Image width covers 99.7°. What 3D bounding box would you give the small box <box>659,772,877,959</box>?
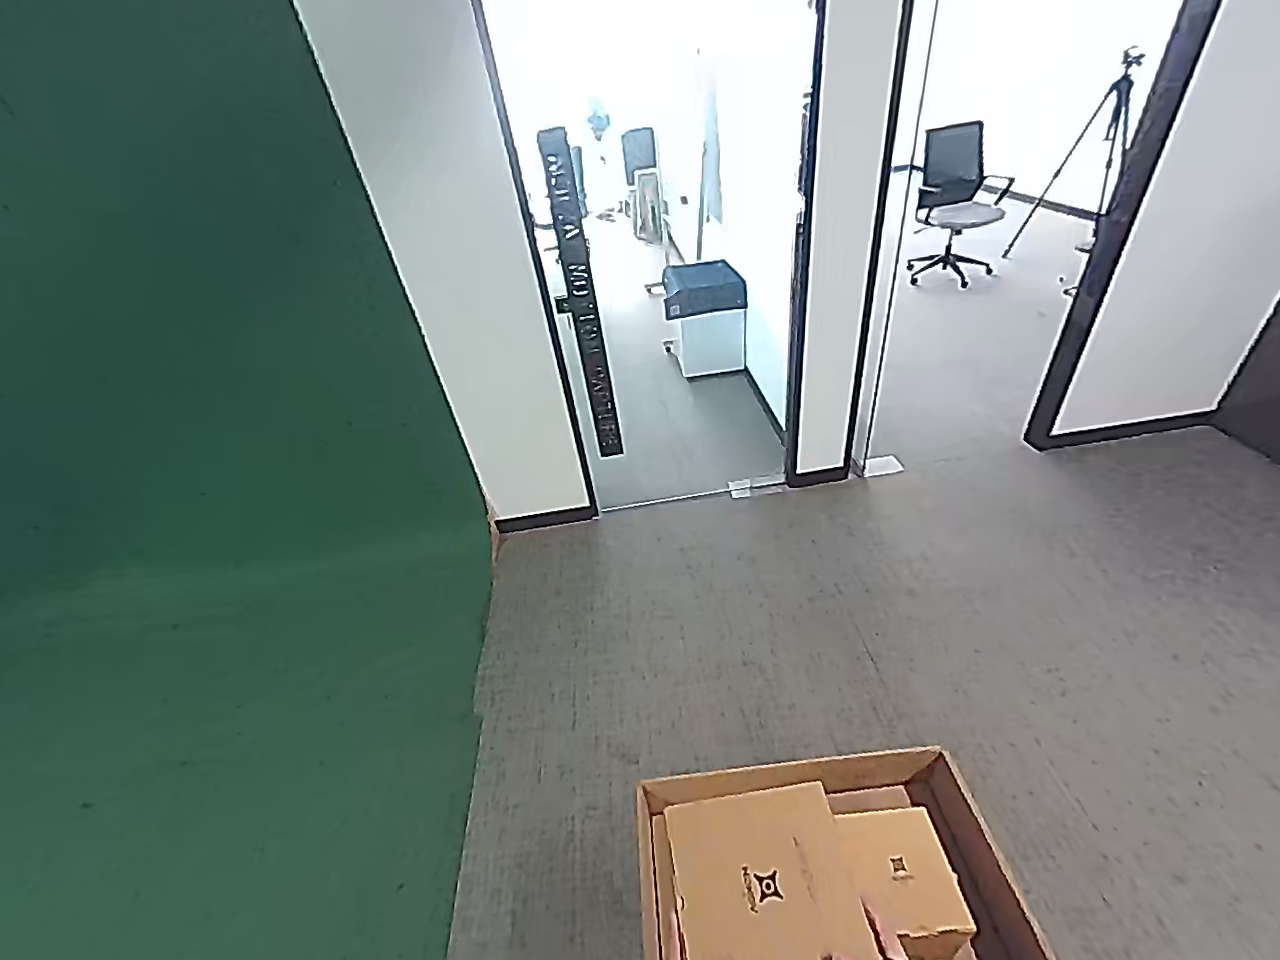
[{"bbox_3d":[0.121,0.439,0.579,0.179,0.176,0.168,-8,45,-2],"label":"small box"}]

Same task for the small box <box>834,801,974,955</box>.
[{"bbox_3d":[0.436,0.692,0.943,0.168,0.176,0.179,-6,38,2],"label":"small box"}]
